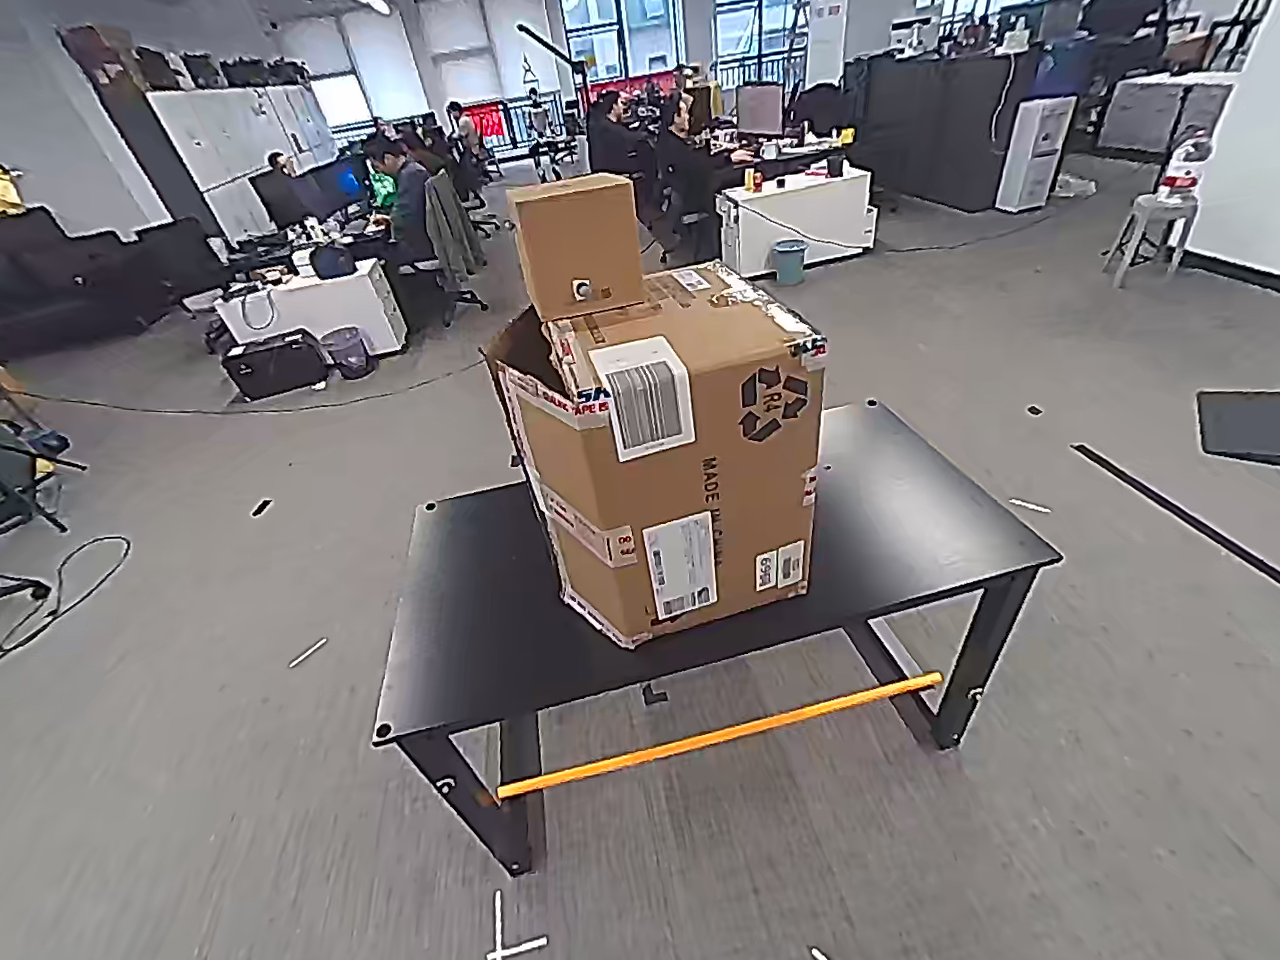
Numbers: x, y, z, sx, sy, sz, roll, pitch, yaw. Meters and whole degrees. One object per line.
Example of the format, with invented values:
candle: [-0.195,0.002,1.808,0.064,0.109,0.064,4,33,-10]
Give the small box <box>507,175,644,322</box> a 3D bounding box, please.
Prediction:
small box: [-0.100,-0.361,0.841,0.168,0.176,0.179,-16,36,-9]
